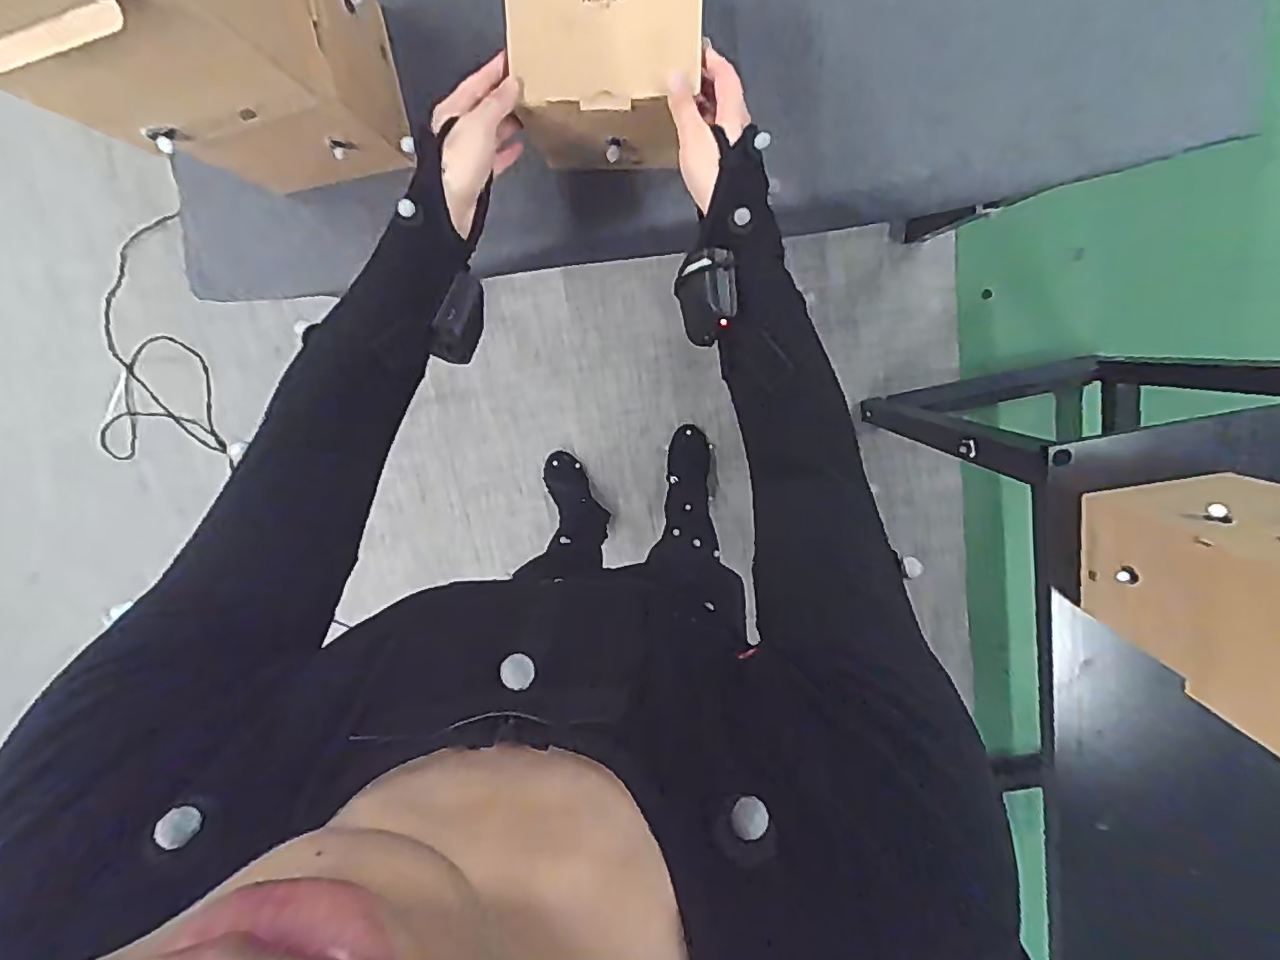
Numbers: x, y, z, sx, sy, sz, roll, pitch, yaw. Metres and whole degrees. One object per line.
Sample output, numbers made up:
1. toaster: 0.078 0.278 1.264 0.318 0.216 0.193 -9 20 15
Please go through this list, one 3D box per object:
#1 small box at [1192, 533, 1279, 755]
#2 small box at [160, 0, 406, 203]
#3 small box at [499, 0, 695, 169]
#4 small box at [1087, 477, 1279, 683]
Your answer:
1. small box: 0.628 0.151 0.455 0.168 0.176 0.179 -9 103 6
2. small box: -0.362 -0.404 0.547 0.179 0.176 0.168 -10 101 6
3. small box: -0.030 -0.417 0.524 0.168 0.176 0.179 0 103 4
4. small box: 0.652 0.103 0.610 0.179 0.176 0.168 -10 104 5
